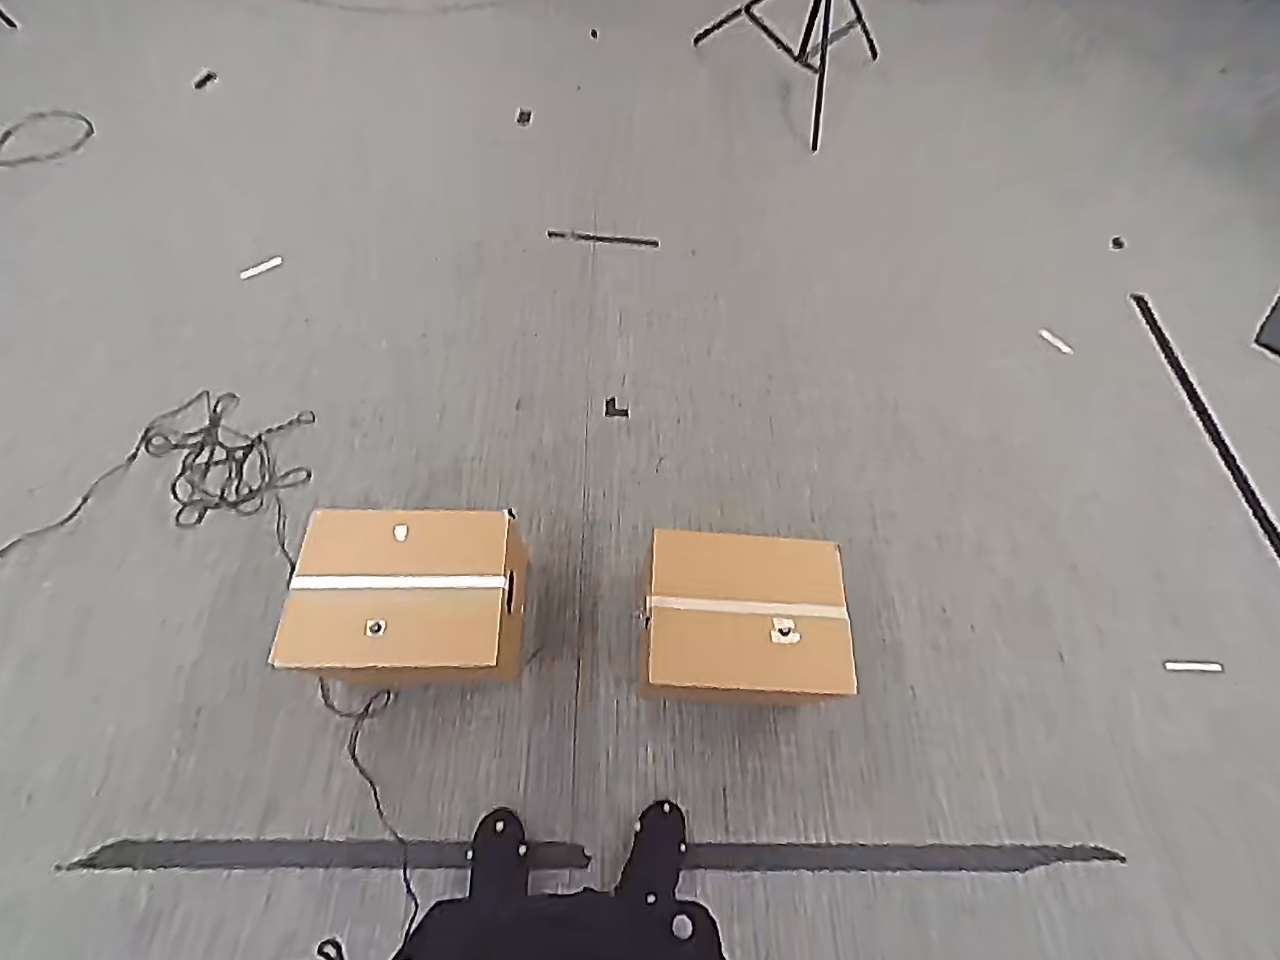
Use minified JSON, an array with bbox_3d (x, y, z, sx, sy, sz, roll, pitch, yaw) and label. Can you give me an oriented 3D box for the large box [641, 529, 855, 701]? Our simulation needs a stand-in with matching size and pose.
[{"bbox_3d":[0.214,0.322,1.236,0.408,0.320,0.320,5,64,-3],"label":"large box"}]
